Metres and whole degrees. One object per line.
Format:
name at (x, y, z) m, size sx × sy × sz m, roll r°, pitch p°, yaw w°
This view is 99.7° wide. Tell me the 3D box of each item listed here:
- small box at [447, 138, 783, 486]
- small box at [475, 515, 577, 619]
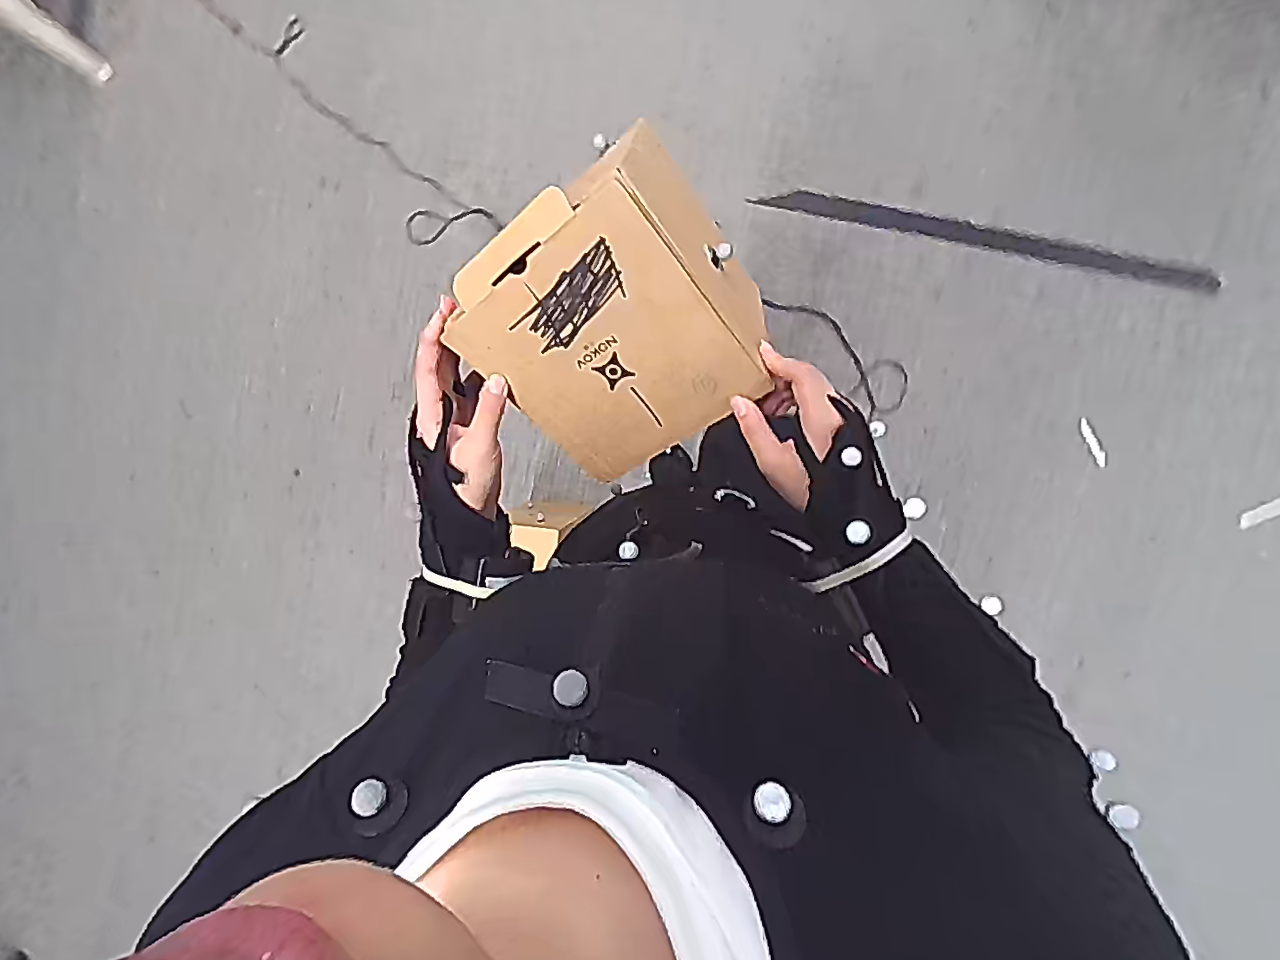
small box at (-0.009, -0.133, 0.425) m, size 0.168 × 0.176 × 0.179 m, roll -27°, pitch 124°, yaw 28°
small box at (-0.235, 0.176, 1.151) m, size 0.168 × 0.176 × 0.179 m, roll 5°, pitch 96°, yaw 7°
